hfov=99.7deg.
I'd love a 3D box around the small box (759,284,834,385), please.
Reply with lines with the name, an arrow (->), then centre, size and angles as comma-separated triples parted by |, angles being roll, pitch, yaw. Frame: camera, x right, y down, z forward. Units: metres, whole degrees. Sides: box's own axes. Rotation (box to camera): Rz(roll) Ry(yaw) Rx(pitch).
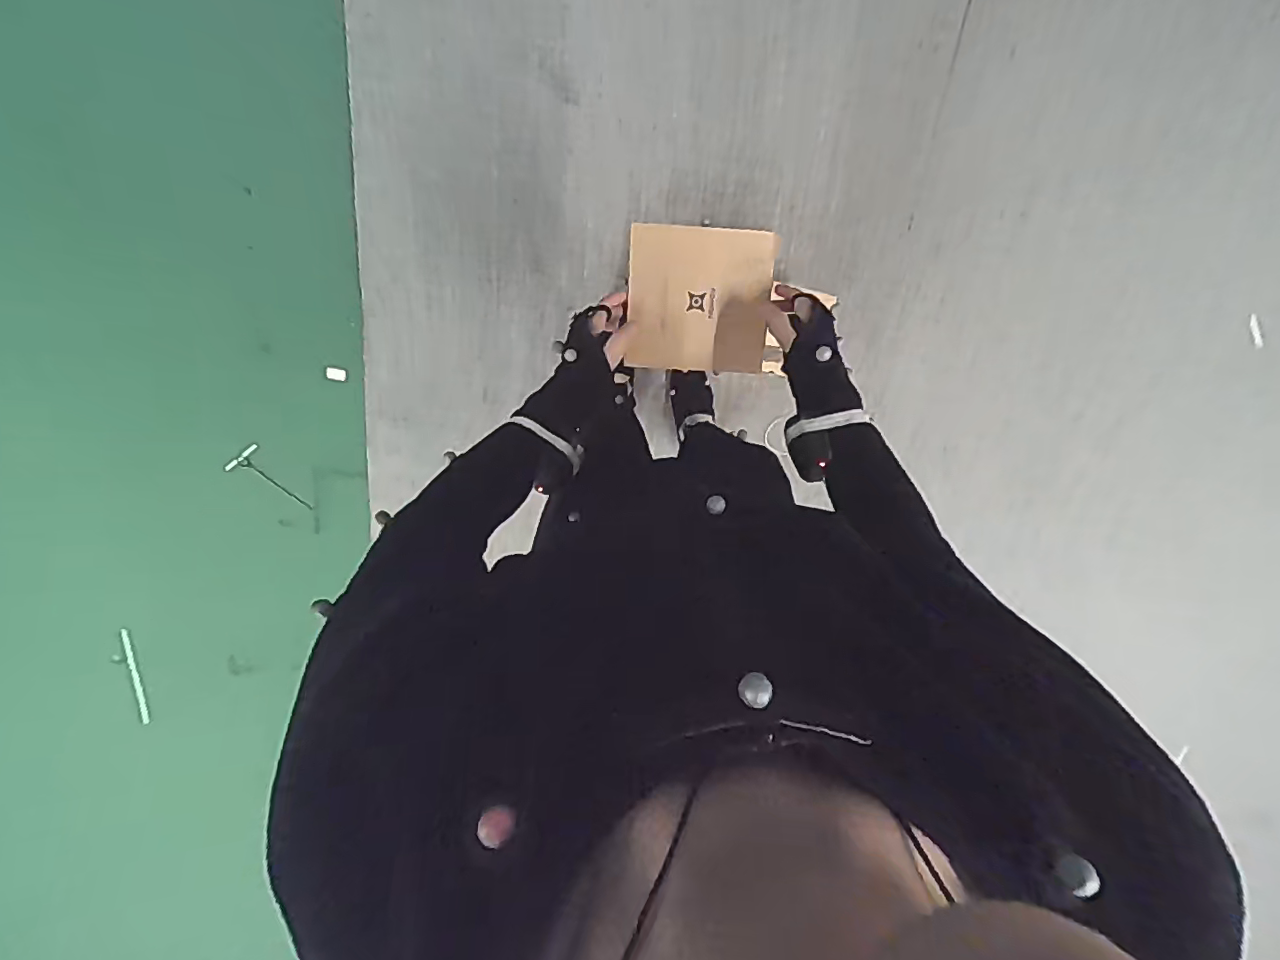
small box -> 0.282, -0.317, 1.147 | 0.168, 0.176, 0.179 | 12, 109, -5

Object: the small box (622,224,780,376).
small box -> 0.069, -0.238, 0.719 | 0.179, 0.176, 0.168 | 3, 109, -2
